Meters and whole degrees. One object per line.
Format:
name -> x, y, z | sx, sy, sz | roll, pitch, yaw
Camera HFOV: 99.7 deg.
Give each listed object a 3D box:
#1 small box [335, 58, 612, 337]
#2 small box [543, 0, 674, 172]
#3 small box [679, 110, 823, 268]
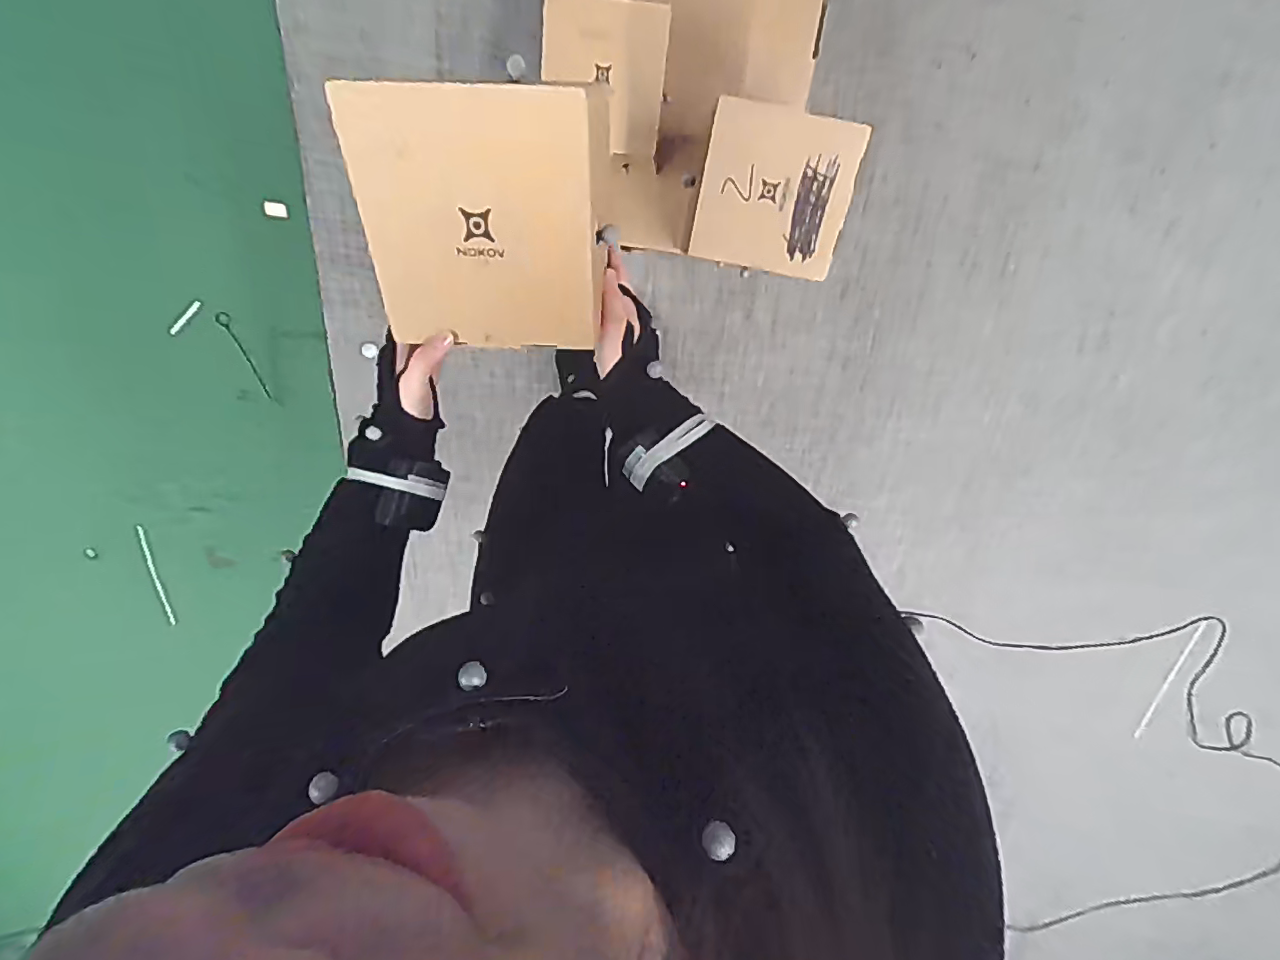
small box -> -0.112, -0.237, 0.451 | 0.168, 0.176, 0.179 | 2, 128, 1
small box -> -0.045, -0.566, 0.790 | 0.168, 0.176, 0.179 | 8, 112, -2
small box -> 0.158, -0.437, 0.837 | 0.168, 0.176, 0.179 | 9, 113, -3
